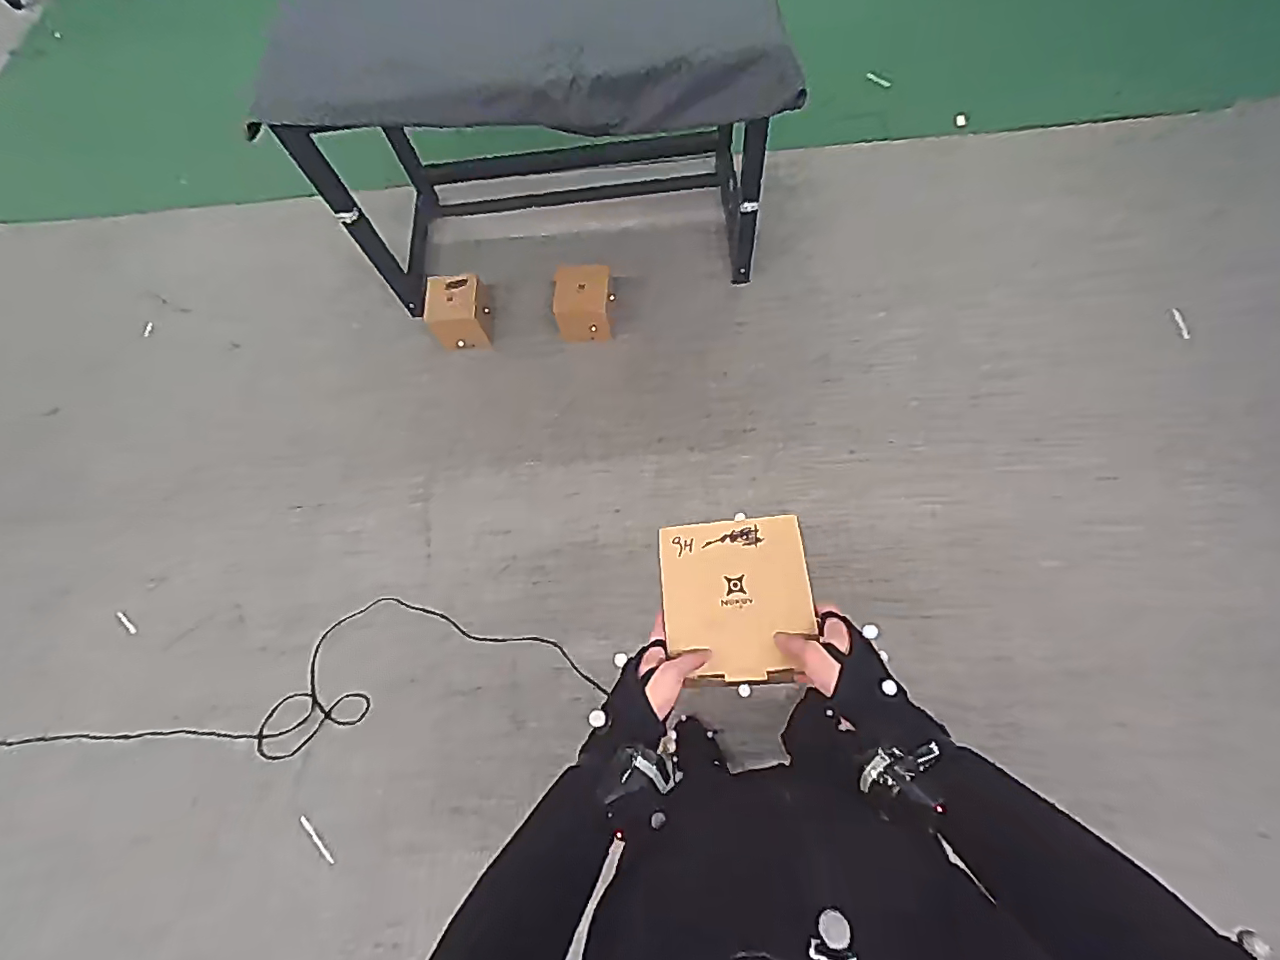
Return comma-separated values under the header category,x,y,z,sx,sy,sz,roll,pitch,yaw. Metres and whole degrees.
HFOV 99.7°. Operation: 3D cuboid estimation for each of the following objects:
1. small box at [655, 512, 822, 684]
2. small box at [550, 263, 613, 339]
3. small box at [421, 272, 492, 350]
category,x,y,z,sx,sy,sz,roll,pitch,yaw
small box,0.116,0.156,0.669,0.168,0.176,0.179,-7,66,6
small box,-0.182,-0.571,1.743,0.168,0.176,0.179,1,68,5
small box,-0.594,-0.550,1.773,0.168,0.176,0.179,-5,70,4
